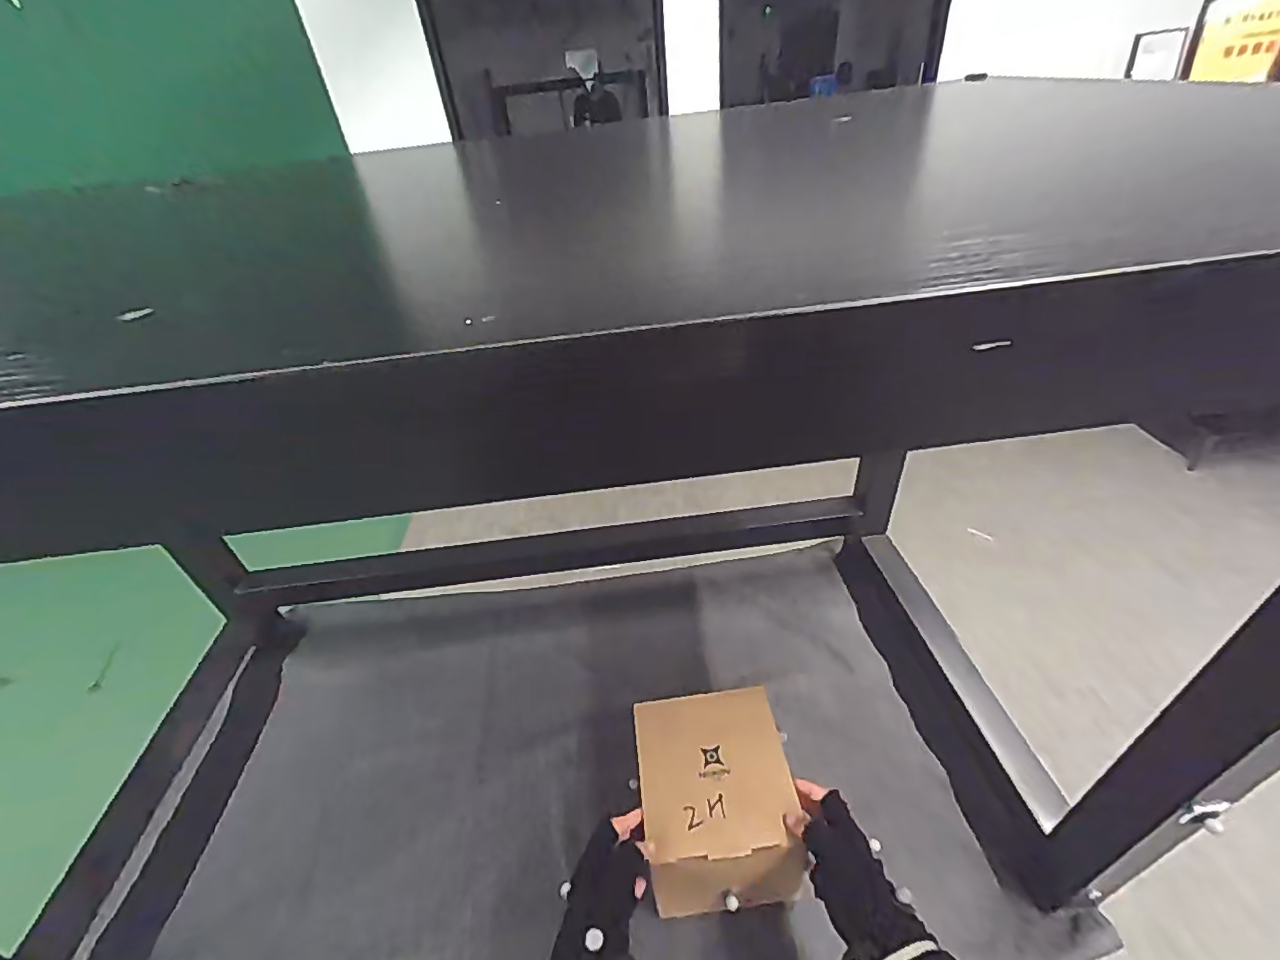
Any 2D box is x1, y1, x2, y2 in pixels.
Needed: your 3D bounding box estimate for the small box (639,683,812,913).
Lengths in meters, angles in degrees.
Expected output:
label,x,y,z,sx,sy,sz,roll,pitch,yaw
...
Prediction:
label,x,y,z,sx,sy,sz,roll,pitch,yaw
small box,0.092,0.376,0.647,0.168,0.176,0.179,-8,36,0
